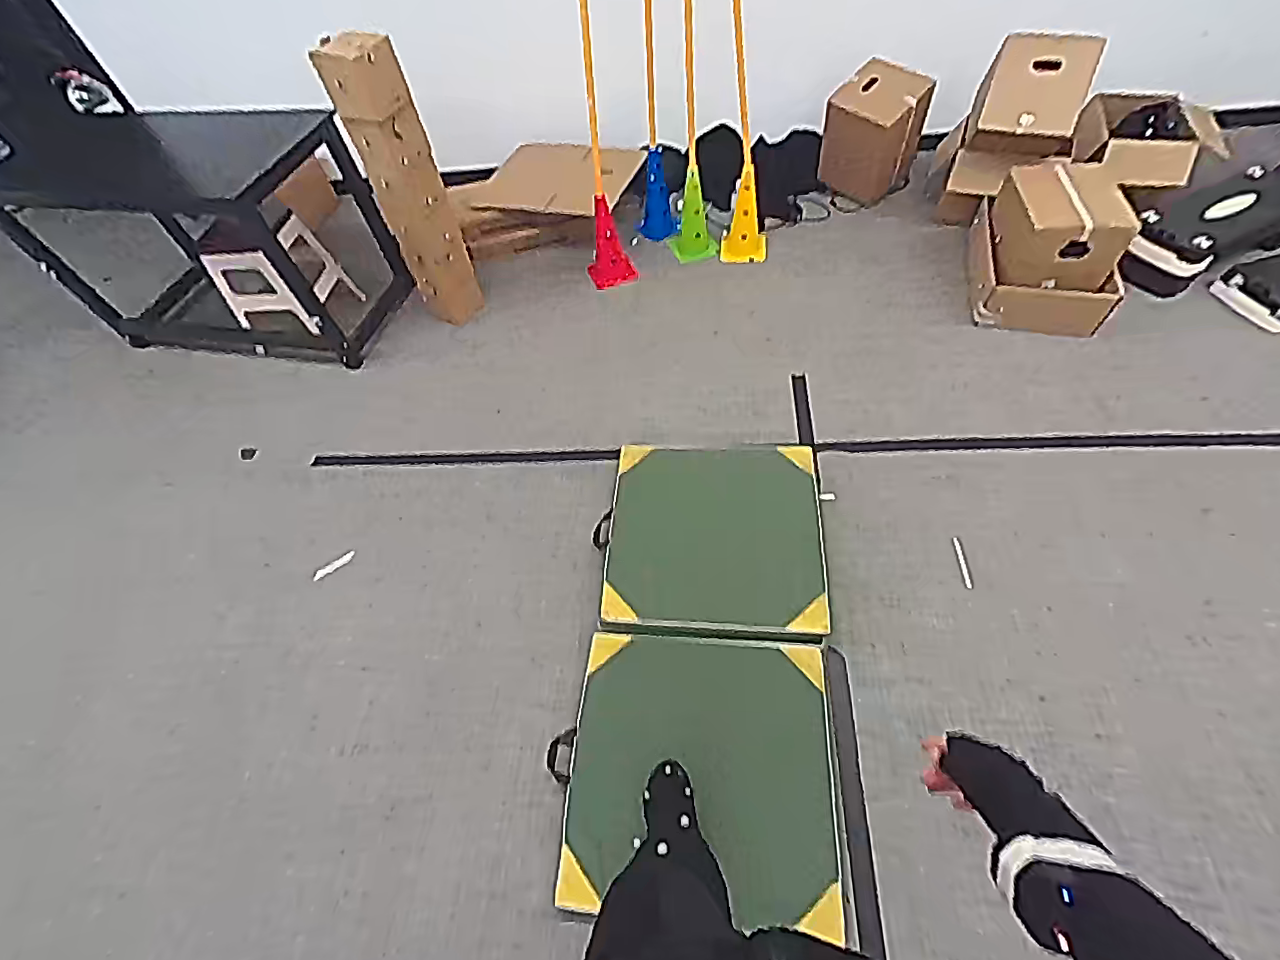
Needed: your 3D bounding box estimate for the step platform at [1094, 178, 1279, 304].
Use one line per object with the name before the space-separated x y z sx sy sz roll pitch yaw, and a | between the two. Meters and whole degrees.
step platform | 2.160 -0.932 2.090 0.684 0.204 0.286 -24 56 -9
